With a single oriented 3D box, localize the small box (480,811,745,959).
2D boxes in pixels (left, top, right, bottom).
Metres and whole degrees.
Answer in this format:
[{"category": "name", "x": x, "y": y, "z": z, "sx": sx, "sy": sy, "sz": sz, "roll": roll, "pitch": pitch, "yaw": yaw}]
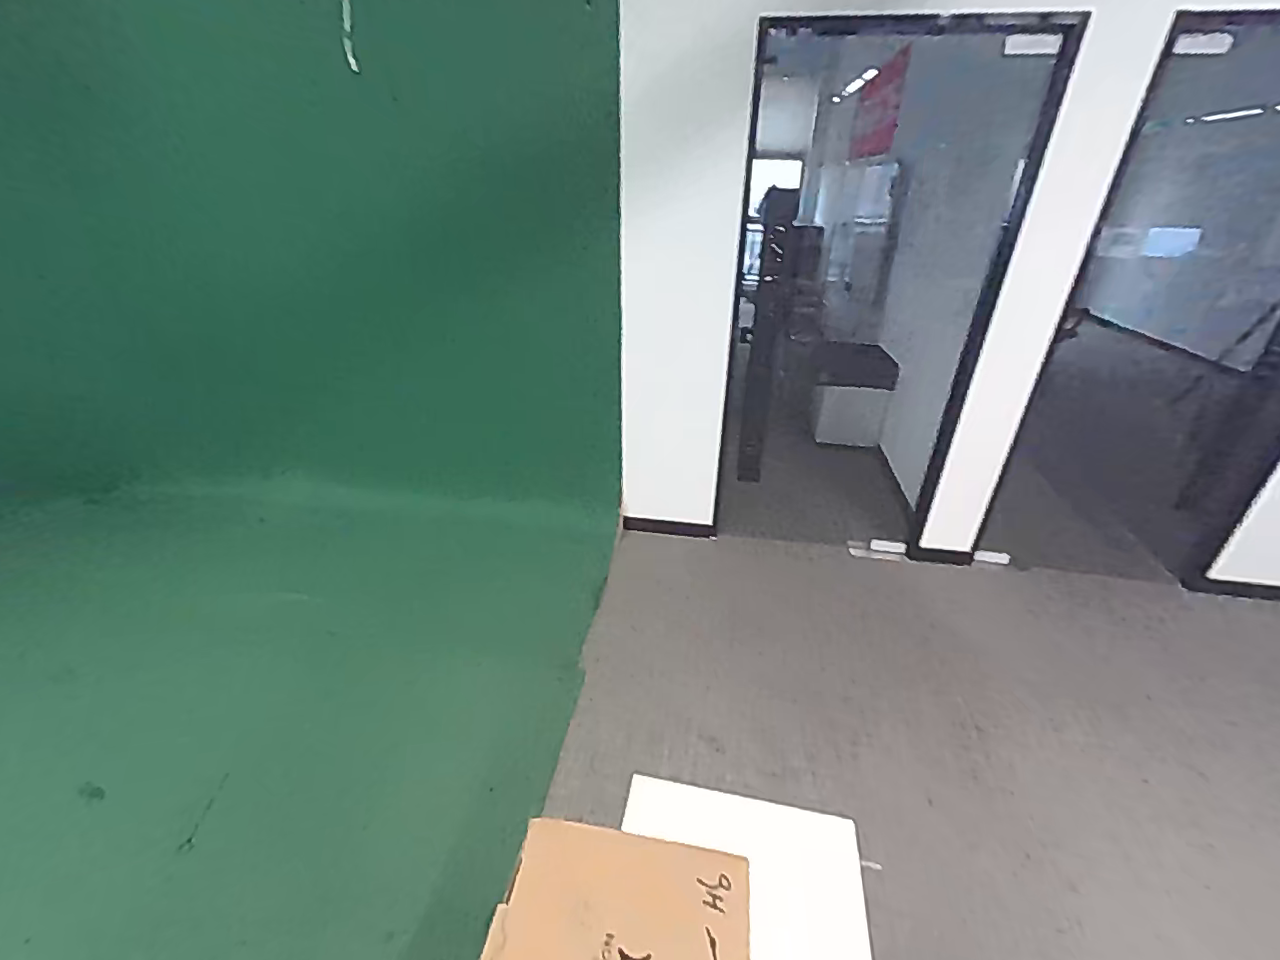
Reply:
[{"category": "small box", "x": -0.020, "y": 0.387, "z": 0.403, "sx": 0.179, "sy": 0.176, "sz": 0.168, "roll": 7, "pitch": 33, "yaw": 7}]
